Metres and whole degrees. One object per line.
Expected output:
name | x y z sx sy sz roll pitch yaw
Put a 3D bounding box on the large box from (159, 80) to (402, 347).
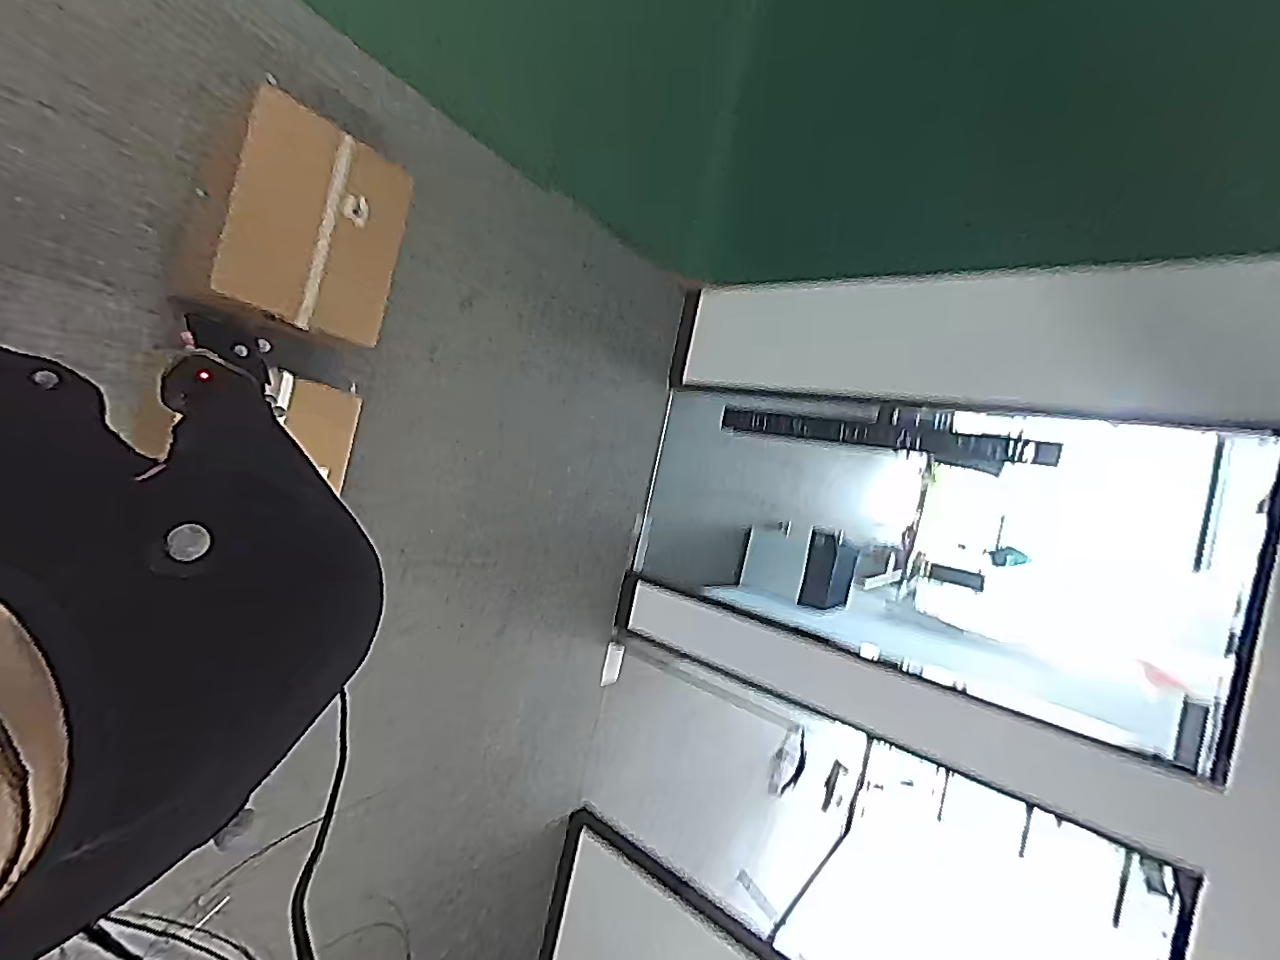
large box | -0.784 -0.535 1.187 0.320 0.320 0.408 17 84 -54
